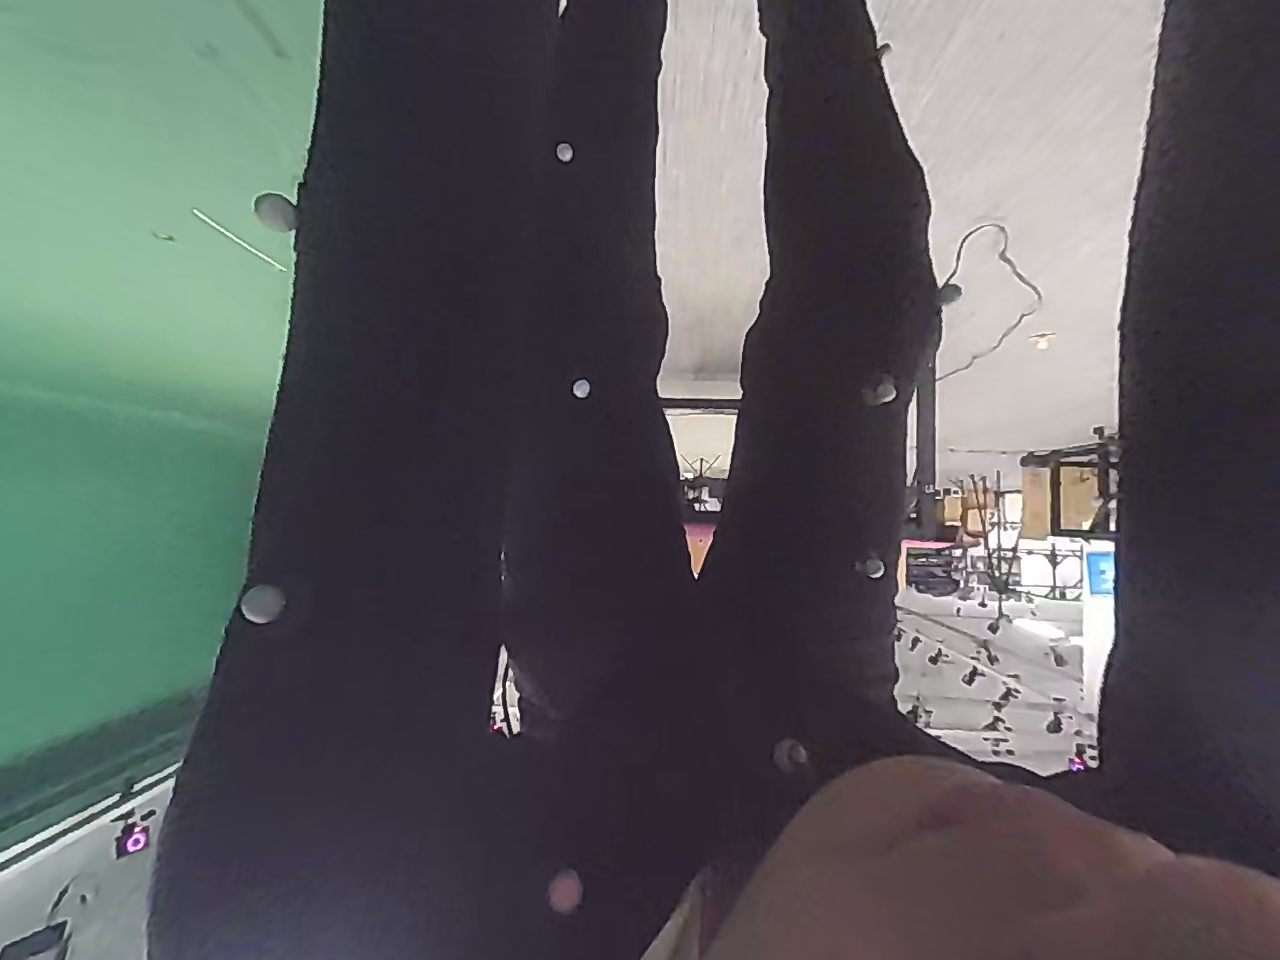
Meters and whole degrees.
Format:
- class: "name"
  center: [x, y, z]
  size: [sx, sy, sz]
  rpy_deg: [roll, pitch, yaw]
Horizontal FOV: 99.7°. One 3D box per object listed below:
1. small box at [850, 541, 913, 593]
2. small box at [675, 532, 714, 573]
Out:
- class: "small box"
  center: [0.913, 0.325, 2.046]
  size: [0.179, 0.176, 0.168]
  rpy_deg: [3, 179, 4]
- class: "small box"
  center: [0.239, 0.317, 2.387]
  size: [0.168, 0.176, 0.179]
  rpy_deg: [2, 177, 4]
